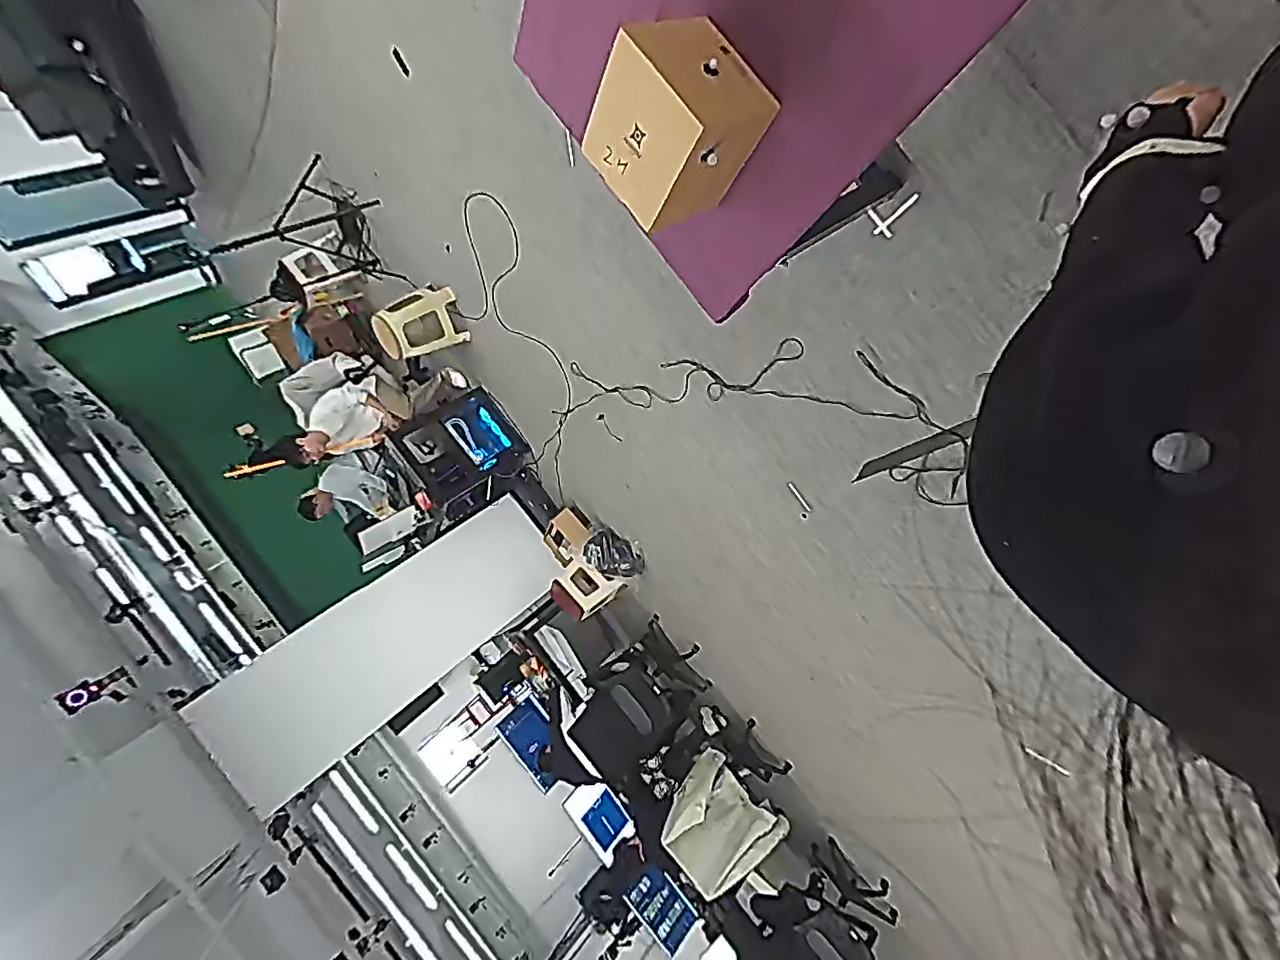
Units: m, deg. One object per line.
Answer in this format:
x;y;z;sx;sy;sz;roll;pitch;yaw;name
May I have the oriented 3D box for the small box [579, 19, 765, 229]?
0.047;-0.497;0.756;0.168;0.176;0.179;53;150;3;small box
